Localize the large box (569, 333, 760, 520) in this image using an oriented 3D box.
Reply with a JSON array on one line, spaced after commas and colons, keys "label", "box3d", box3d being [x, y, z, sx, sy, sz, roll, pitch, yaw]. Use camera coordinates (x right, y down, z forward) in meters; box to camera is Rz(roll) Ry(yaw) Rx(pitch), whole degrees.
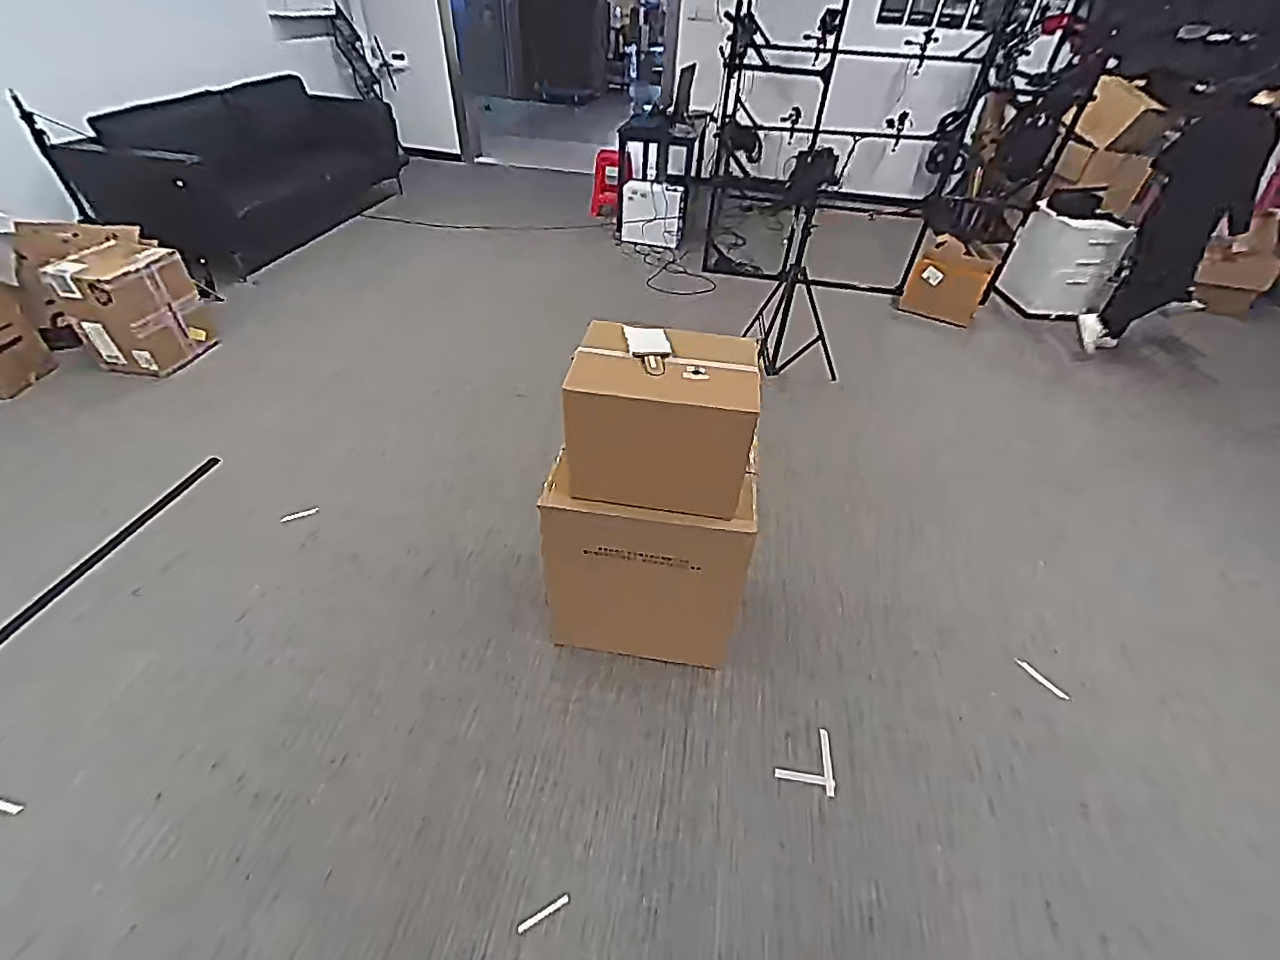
[{"label": "large box", "box3d": [0.055, -0.131, 1.314, 0.408, 0.320, 0.320, 8, 43, 3]}]
